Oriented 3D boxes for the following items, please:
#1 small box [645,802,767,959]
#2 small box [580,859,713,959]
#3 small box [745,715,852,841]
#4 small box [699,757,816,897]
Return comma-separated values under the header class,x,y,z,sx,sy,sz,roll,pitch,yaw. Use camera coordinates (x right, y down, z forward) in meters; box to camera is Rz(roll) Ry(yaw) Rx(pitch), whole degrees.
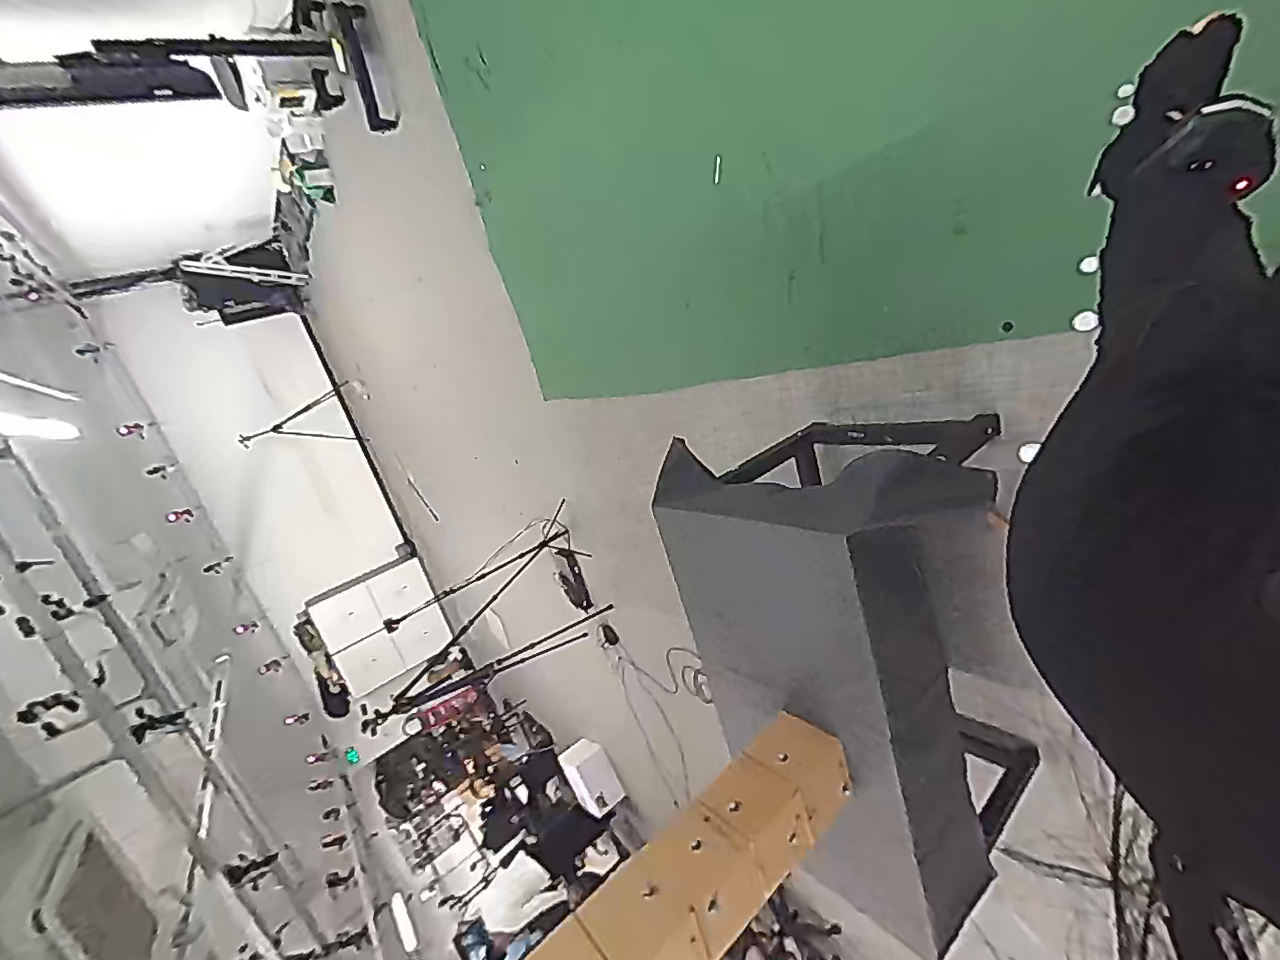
class,x,y,z,sx,sy,sz,roll,pitch,yaw
small box,0.141,0.829,1.134,0.168,0.176,0.179,7,118,54
small box,0.015,0.886,1.047,0.179,0.176,0.168,8,119,53
small box,0.389,0.707,1.307,0.179,0.176,0.168,5,116,56
small box,0.266,0.768,1.222,0.179,0.176,0.168,4,116,54
